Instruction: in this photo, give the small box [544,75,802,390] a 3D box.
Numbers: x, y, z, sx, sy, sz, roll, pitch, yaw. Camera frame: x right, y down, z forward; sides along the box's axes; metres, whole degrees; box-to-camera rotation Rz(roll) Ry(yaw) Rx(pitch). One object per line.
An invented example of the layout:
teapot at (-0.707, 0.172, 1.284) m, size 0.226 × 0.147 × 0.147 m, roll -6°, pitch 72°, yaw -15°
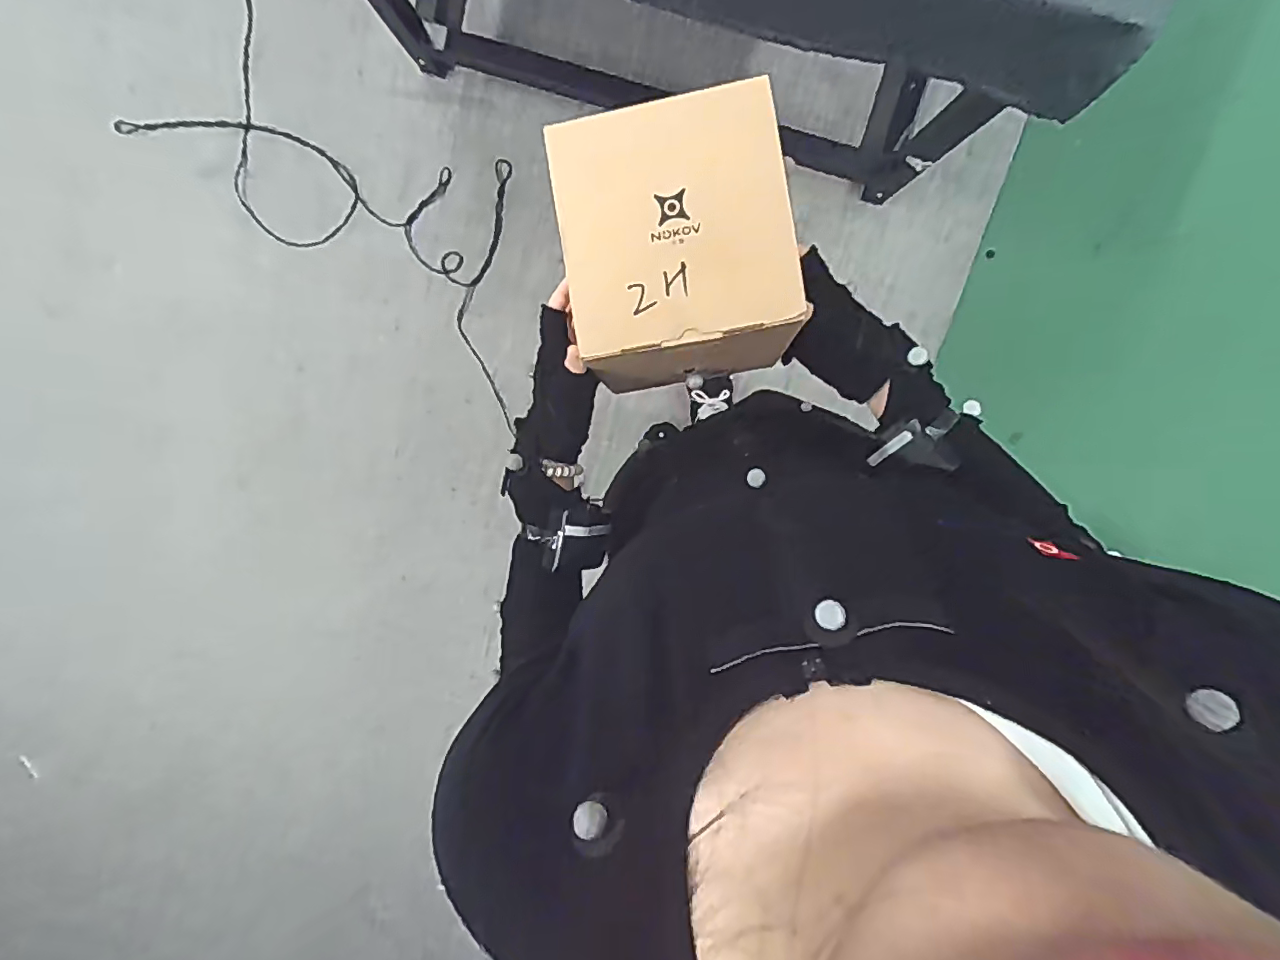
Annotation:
small box at (0.029, -0.186, 0.462) m, size 0.168 × 0.176 × 0.179 m, roll -9°, pitch 90°, yaw 6°
